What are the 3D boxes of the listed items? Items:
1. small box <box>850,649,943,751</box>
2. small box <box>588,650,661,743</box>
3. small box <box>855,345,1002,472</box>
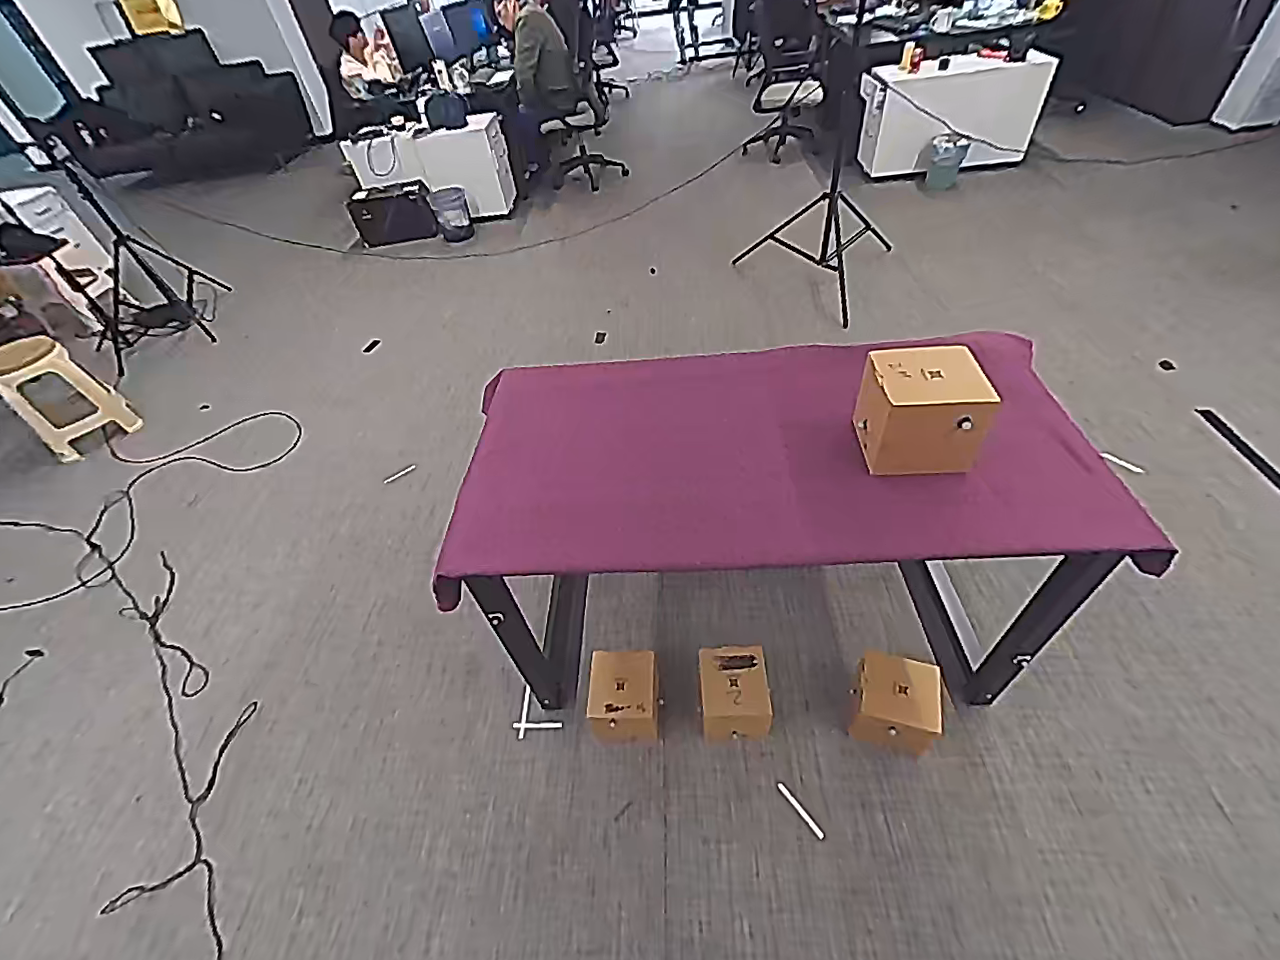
[{"bbox_3d":[0.634,0.552,1.346,0.179,0.176,0.168,9,49,18],"label":"small box"},{"bbox_3d":[-0.035,0.570,1.427,0.168,0.176,0.179,-2,45,7],"label":"small box"},{"bbox_3d":[0.515,-0.128,0.996,0.179,0.176,0.168,-2,46,7],"label":"small box"}]
